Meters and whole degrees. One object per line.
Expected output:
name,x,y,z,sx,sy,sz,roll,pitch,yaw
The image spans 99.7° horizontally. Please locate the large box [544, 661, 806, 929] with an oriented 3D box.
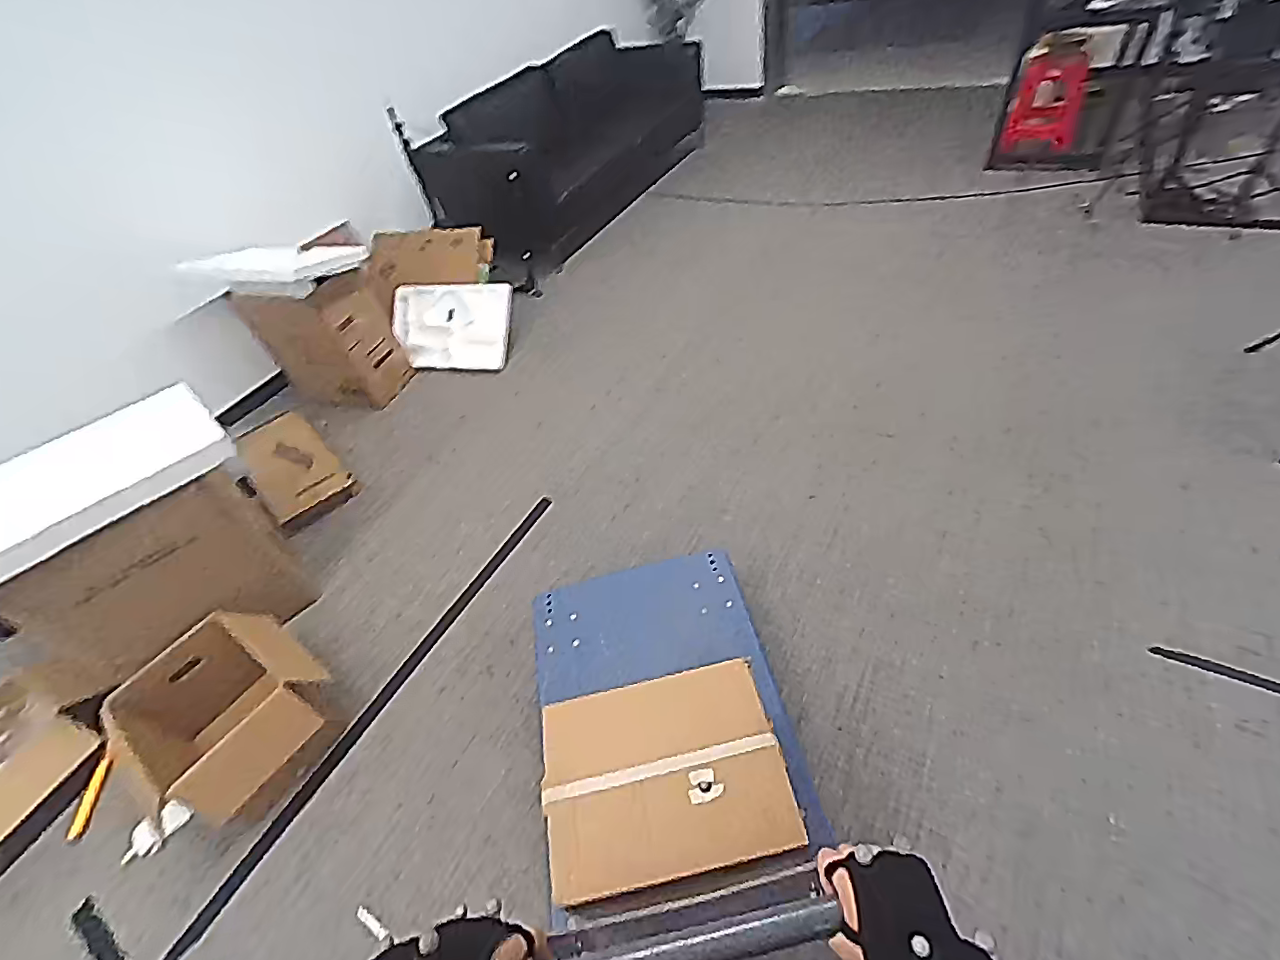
large box,0.058,0.603,1.035,0.408,0.320,0.320,-13,46,-2
